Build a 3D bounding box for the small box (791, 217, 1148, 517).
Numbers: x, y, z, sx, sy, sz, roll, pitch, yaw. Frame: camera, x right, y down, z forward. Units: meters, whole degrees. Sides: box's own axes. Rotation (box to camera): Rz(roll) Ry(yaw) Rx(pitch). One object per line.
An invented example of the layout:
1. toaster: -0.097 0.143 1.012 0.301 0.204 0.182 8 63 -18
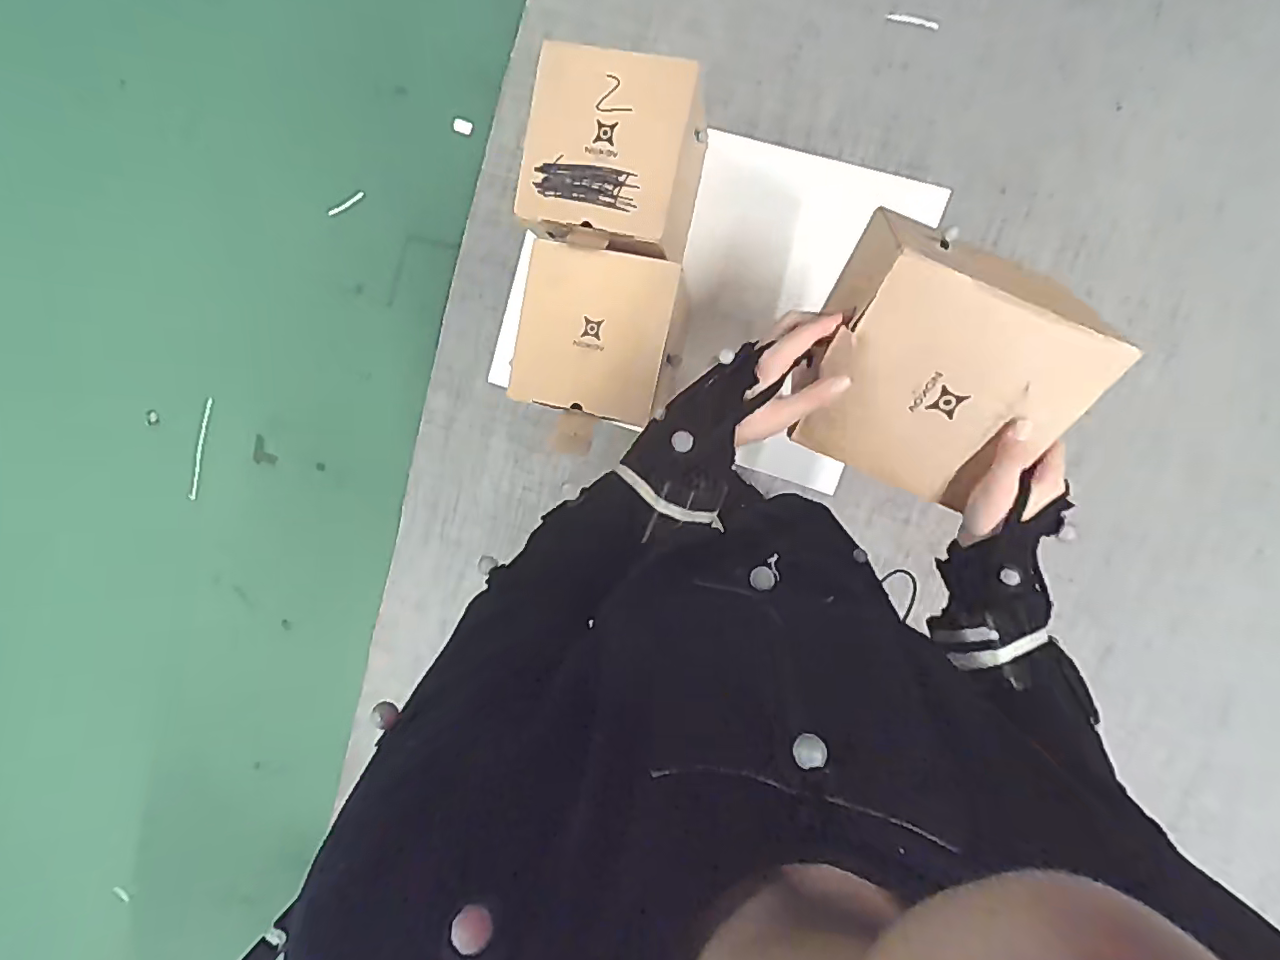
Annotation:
1. small box: 0.247 -0.105 0.462 0.179 0.176 0.168 21 130 2
